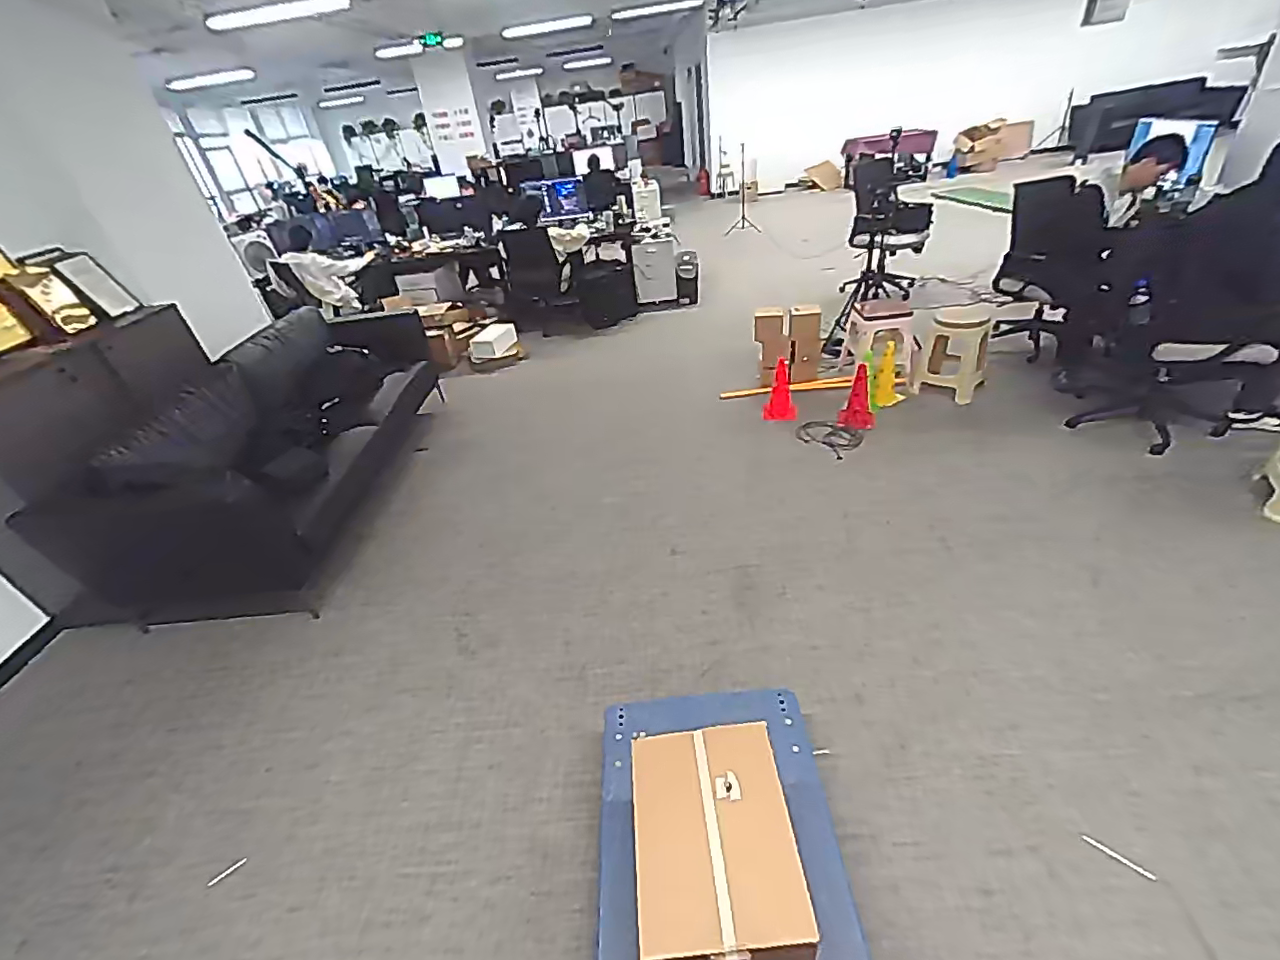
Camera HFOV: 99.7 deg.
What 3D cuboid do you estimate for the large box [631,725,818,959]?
[{"bbox_3d":[0.167,0.822,1.176,0.320,0.320,0.408,-8,34,2],"label":"large box"}]
